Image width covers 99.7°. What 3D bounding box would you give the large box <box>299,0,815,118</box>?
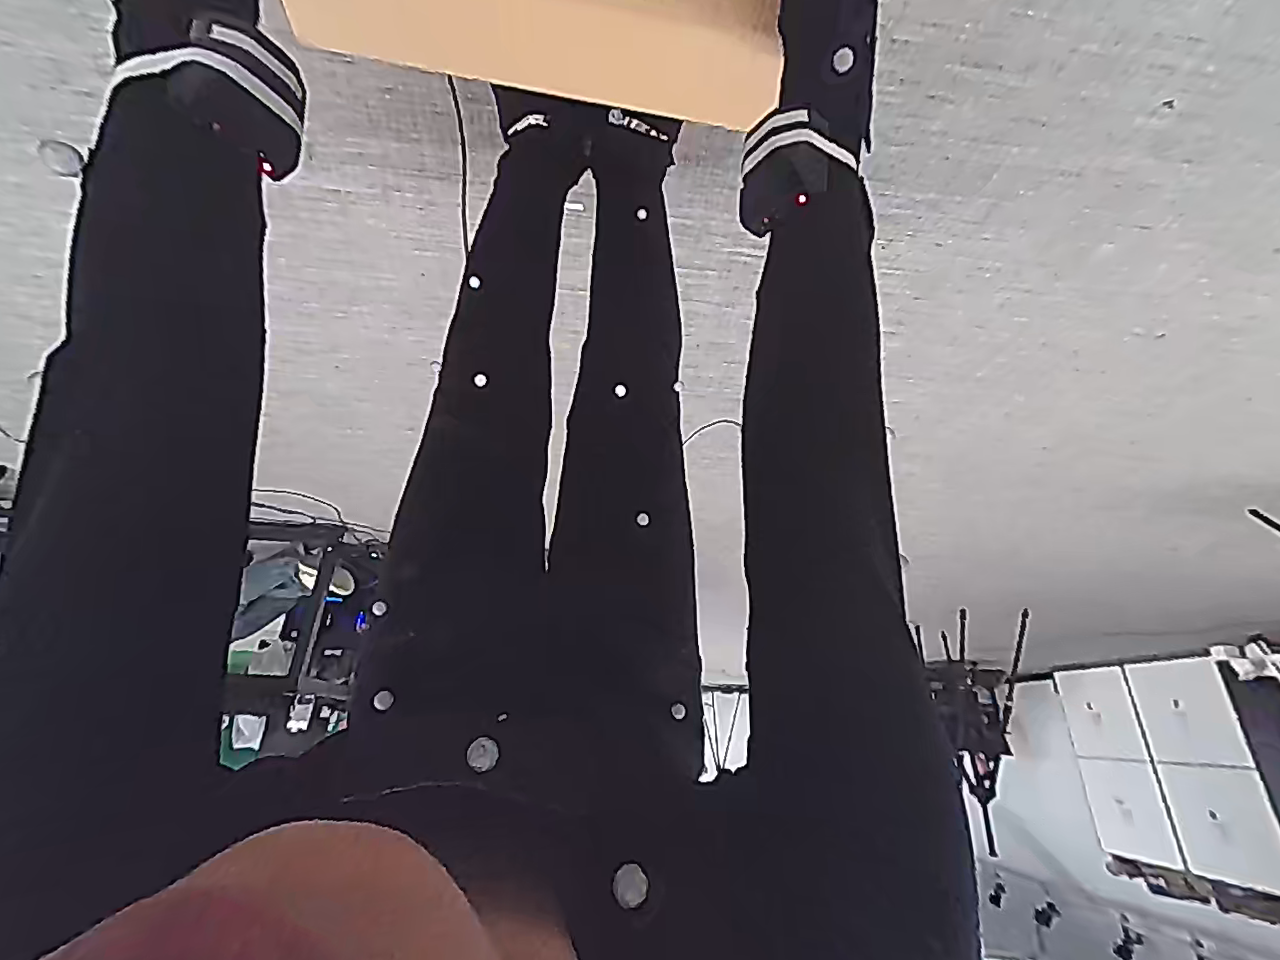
[{"bbox_3d":[-0.052,-0.544,0.405,0.408,0.320,0.320,4,154,-8],"label":"large box"}]
